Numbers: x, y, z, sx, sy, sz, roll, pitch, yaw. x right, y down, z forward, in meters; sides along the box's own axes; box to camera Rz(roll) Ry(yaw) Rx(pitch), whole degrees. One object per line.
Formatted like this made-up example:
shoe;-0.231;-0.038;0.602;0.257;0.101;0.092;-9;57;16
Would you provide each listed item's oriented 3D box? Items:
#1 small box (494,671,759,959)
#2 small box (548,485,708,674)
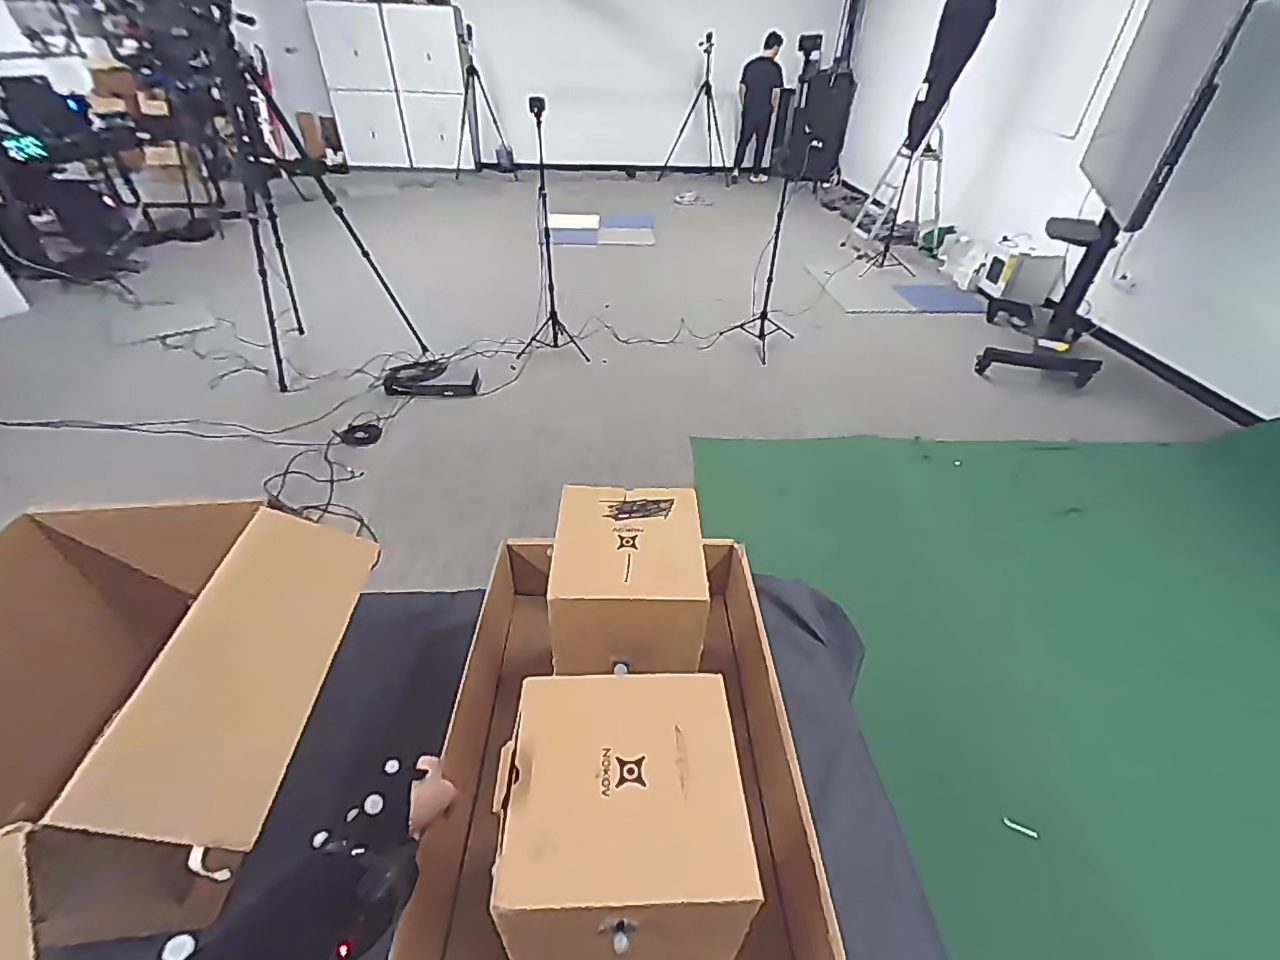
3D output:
small box;-0.014;0.283;0.458;0.179;0.176;0.168;0;38;-4
small box;-0.015;0.126;0.656;0.168;0.176;0.179;1;40;-1
